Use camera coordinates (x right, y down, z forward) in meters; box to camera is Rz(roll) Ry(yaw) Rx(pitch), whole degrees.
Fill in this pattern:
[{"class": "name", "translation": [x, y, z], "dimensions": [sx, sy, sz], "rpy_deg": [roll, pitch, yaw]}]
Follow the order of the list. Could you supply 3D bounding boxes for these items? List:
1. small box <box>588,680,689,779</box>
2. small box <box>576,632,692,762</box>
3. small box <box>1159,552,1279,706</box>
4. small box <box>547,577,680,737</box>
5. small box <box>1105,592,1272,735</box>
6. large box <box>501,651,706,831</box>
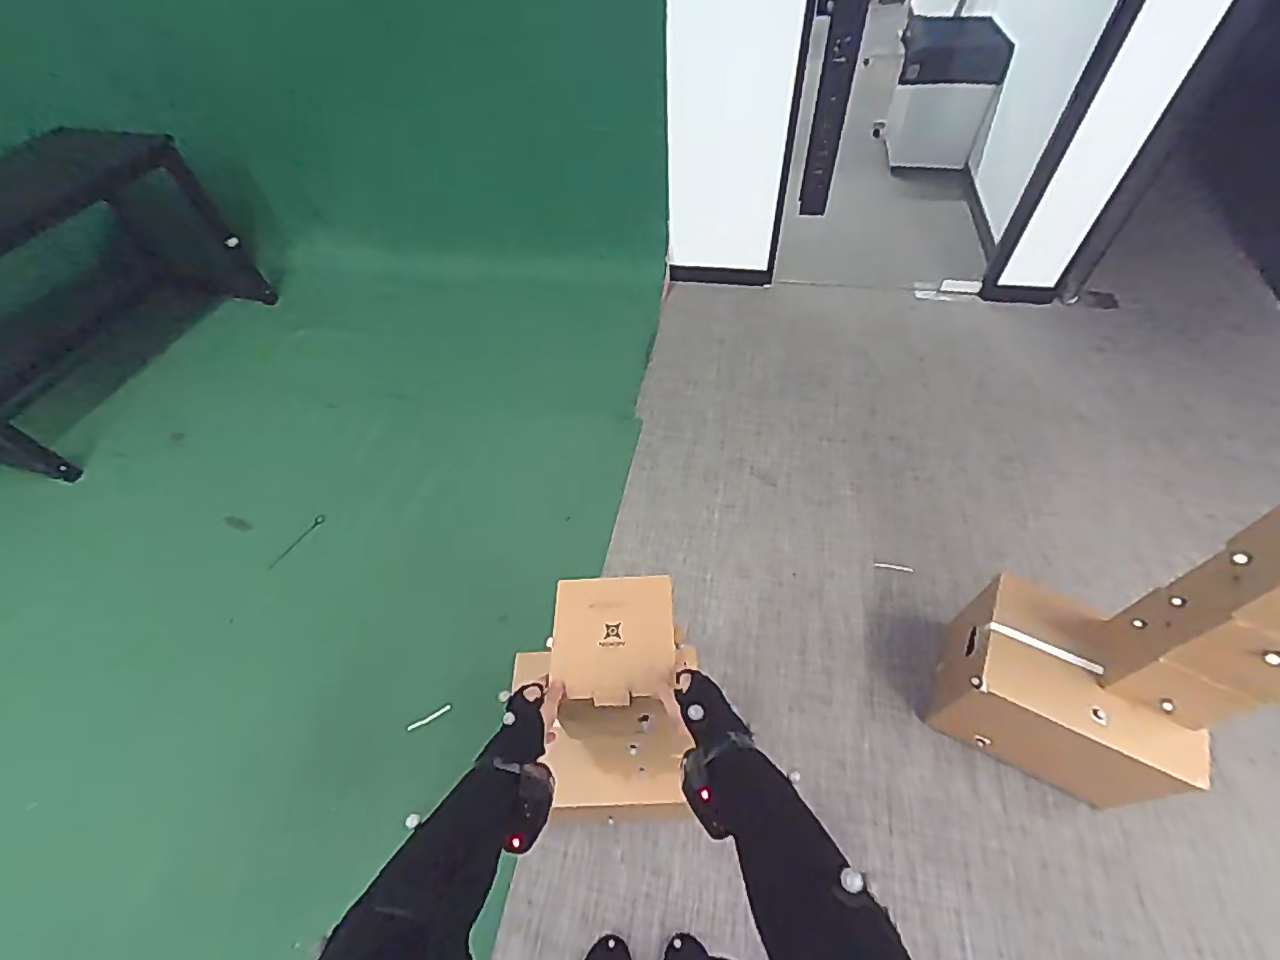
[{"class": "small box", "translation": [0.003, 0.469, 1.042], "dimensions": [0.179, 0.176, 0.168], "rpy_deg": [0, 52, 4]}, {"class": "small box", "translation": [-0.005, 0.369, 0.912], "dimensions": [0.179, 0.176, 0.168], "rpy_deg": [-4, 52, 3]}, {"class": "small box", "translation": [1.058, 0.262, 0.928], "dimensions": [0.179, 0.176, 0.168], "rpy_deg": [25, 56, 22]}, {"class": "small box", "translation": [-0.029, 0.262, 0.784], "dimensions": [0.168, 0.176, 0.179], "rpy_deg": [-3, 48, 3]}, {"class": "small box", "translation": [1.057, 0.360, 1.057], "dimensions": [0.168, 0.176, 0.179], "rpy_deg": [24, 56, 21]}, {"class": "large box", "translation": [-0.068, 0.609, 1.249], "dimensions": [0.408, 0.320, 0.320], "rpy_deg": [-4, 51, 2]}]
